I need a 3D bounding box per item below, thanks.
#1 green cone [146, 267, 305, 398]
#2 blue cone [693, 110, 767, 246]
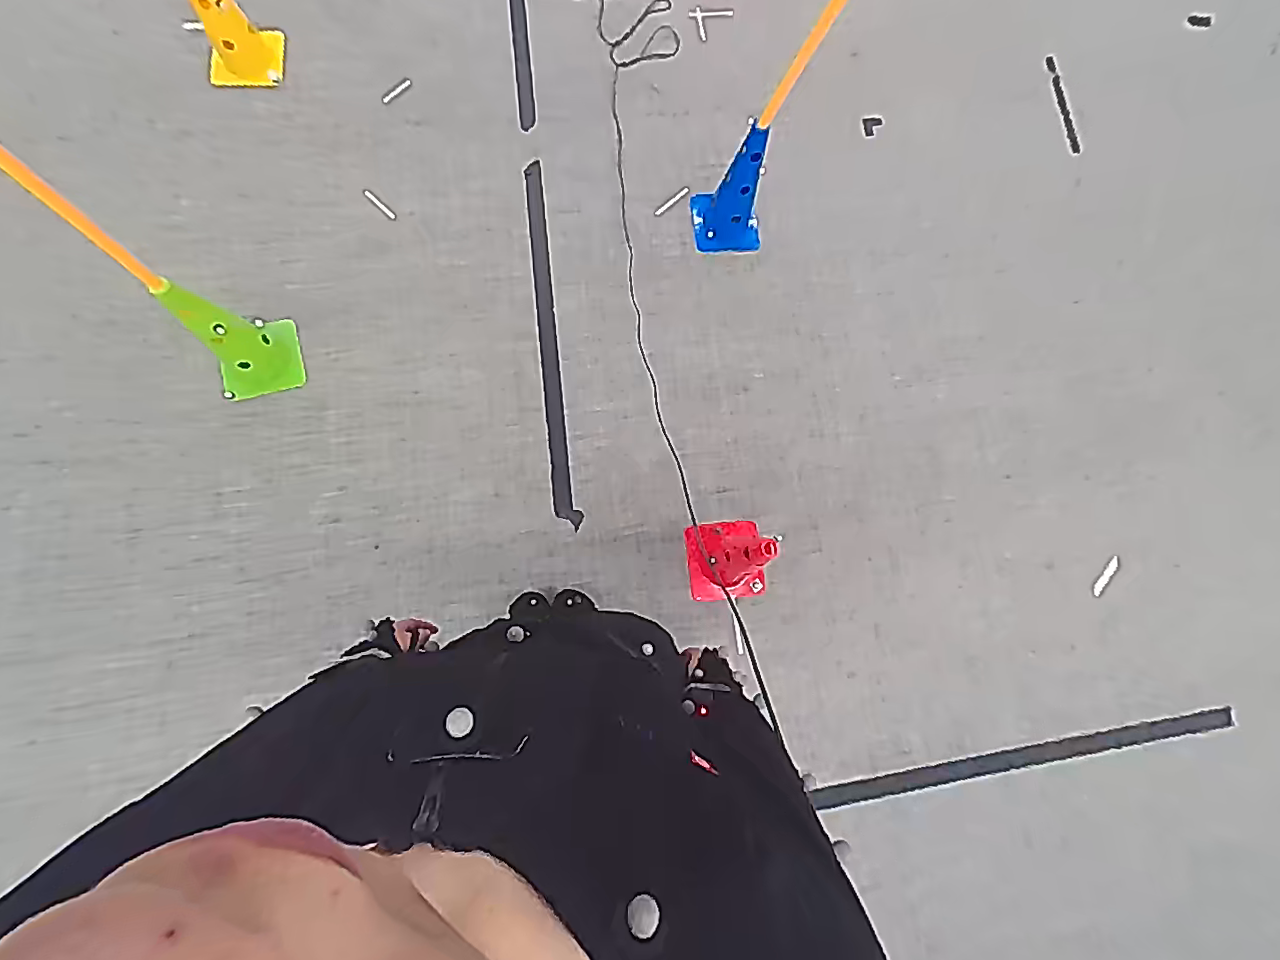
[{"bbox_3d":[-0.983,-0.365,1.259,0.200,0.368,0.202,-17,78,-9],"label":"green cone"},{"bbox_3d":[0.277,-0.836,1.493,0.193,0.380,0.192,-3,77,-6],"label":"blue cone"}]
